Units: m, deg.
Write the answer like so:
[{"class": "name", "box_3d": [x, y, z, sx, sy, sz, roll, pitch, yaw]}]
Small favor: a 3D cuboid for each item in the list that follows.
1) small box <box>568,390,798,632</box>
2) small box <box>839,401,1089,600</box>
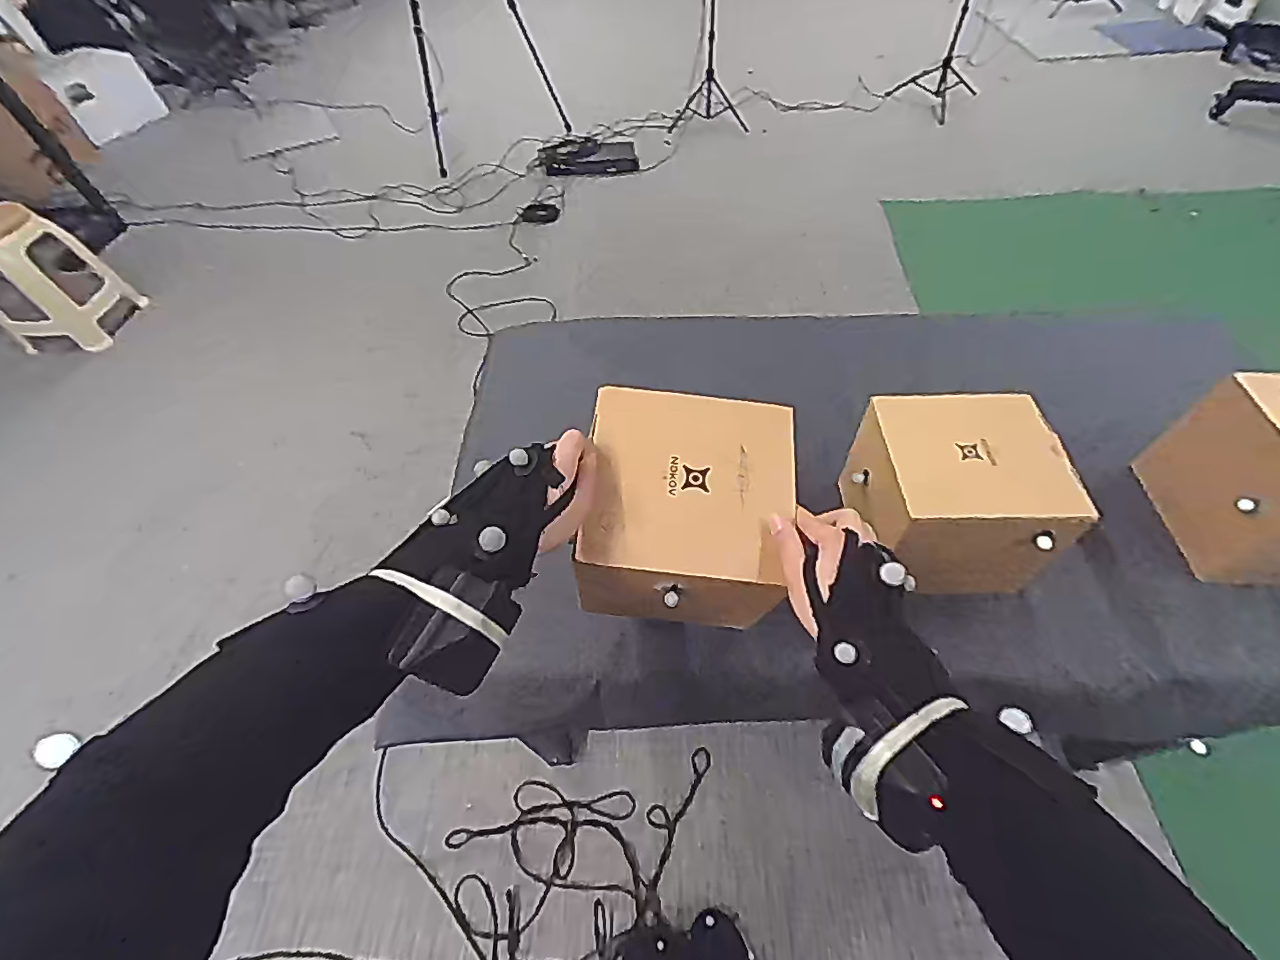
[{"class": "small box", "box_3d": [0.034, 0.039, 0.508, 0.179, 0.176, 0.168, 7, 64, -2]}, {"class": "small box", "box_3d": [0.341, 0.028, 0.620, 0.179, 0.176, 0.168, -1, 52, 3]}]
